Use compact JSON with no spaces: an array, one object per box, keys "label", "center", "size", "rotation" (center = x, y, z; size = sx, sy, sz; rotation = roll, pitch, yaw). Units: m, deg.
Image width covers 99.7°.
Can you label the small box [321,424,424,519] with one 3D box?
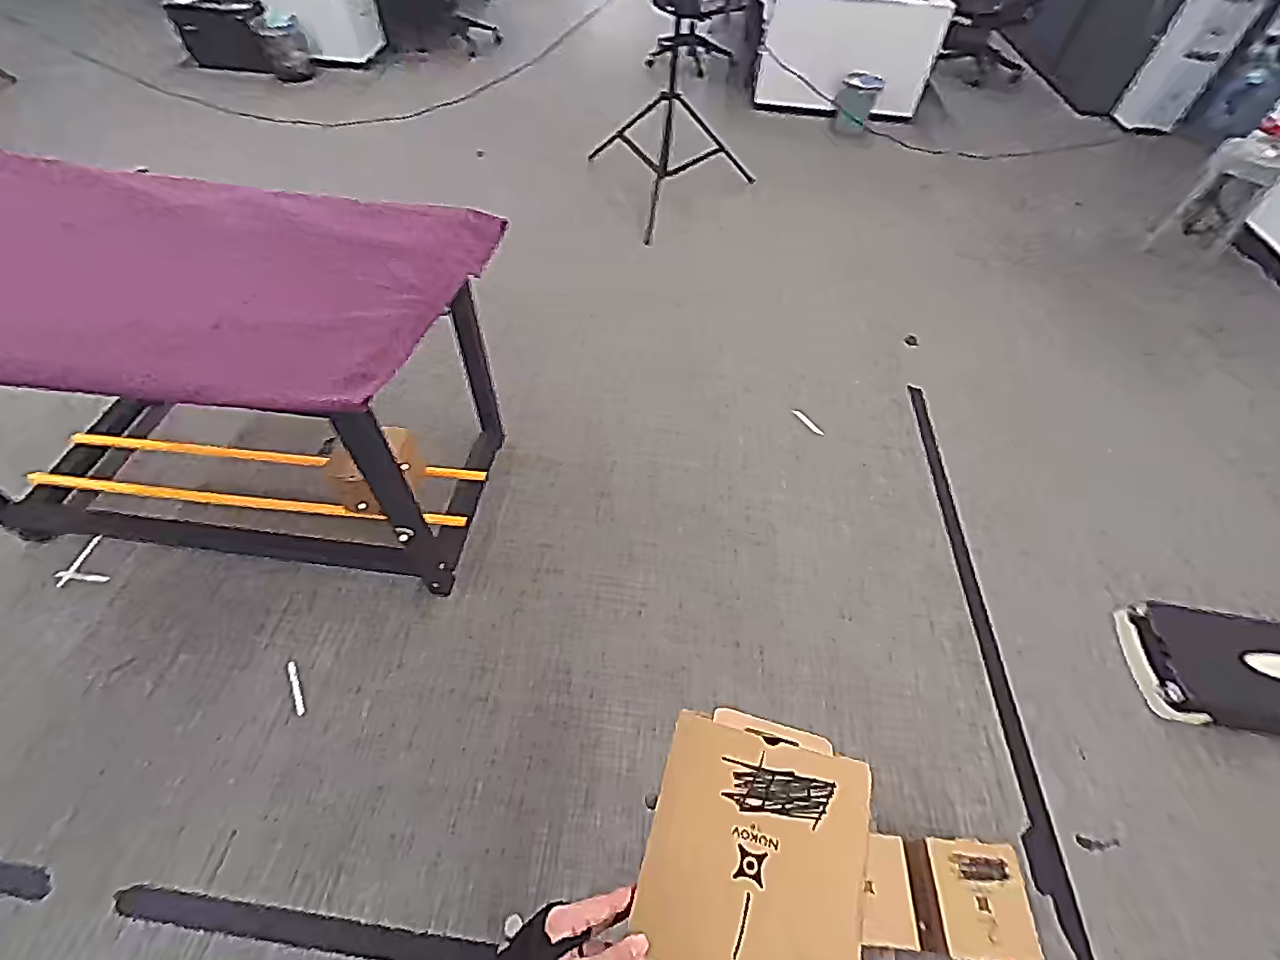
[{"label":"small box","center":[-0.690,-0.020,1.420],"size":[0.168,0.176,0.179],"rotation":[6,54,2]}]

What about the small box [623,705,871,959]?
[{"label":"small box","center":[0.093,0.327,0.479],"size":[0.168,0.176,0.179],"rotation":[11,58,13]}]
